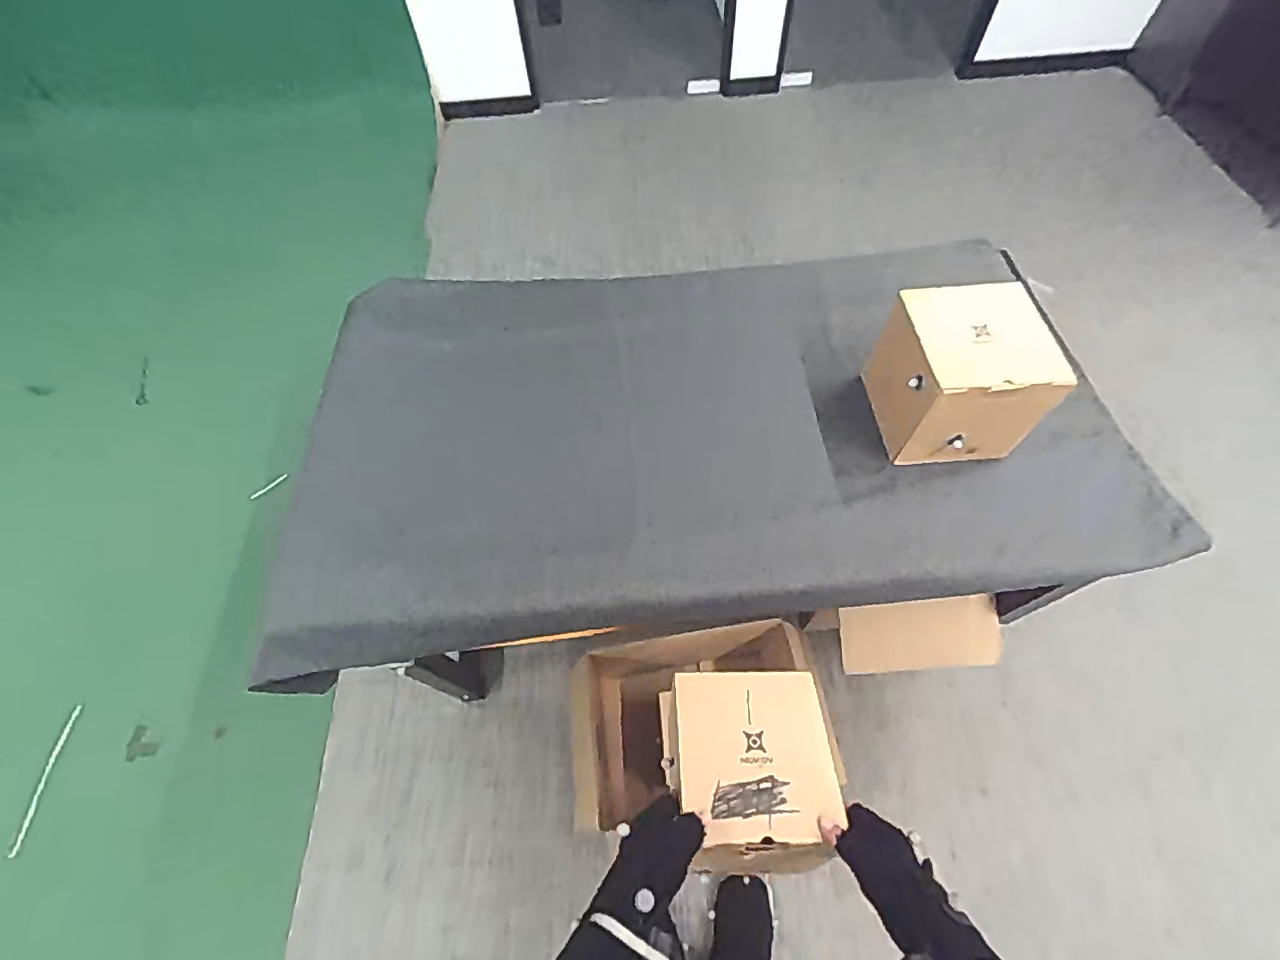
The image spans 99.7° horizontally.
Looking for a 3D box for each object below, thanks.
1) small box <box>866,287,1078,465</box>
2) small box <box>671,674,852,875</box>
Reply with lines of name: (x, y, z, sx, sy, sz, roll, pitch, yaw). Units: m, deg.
small box: (0.437, -0.140, 0.752, 0.168, 0.176, 0.179, -4, 60, 0)
small box: (0.124, 0.345, 0.632, 0.168, 0.176, 0.179, 0, 45, -1)
